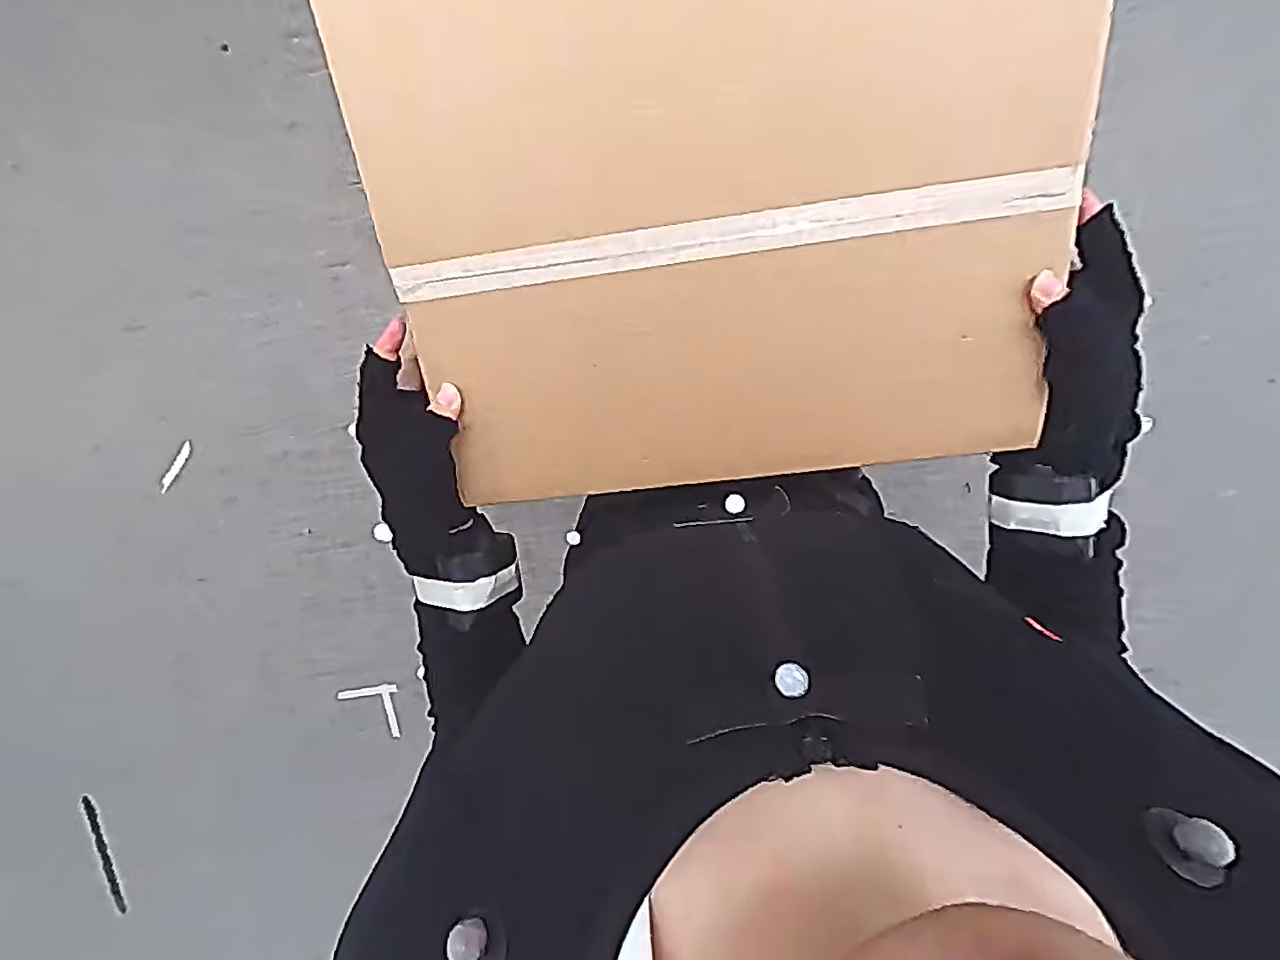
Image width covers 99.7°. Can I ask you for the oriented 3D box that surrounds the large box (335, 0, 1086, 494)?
[{"bbox_3d":[0.051,-0.209,0.470,0.408,0.320,0.320,-6,114,5],"label":"large box"}]
